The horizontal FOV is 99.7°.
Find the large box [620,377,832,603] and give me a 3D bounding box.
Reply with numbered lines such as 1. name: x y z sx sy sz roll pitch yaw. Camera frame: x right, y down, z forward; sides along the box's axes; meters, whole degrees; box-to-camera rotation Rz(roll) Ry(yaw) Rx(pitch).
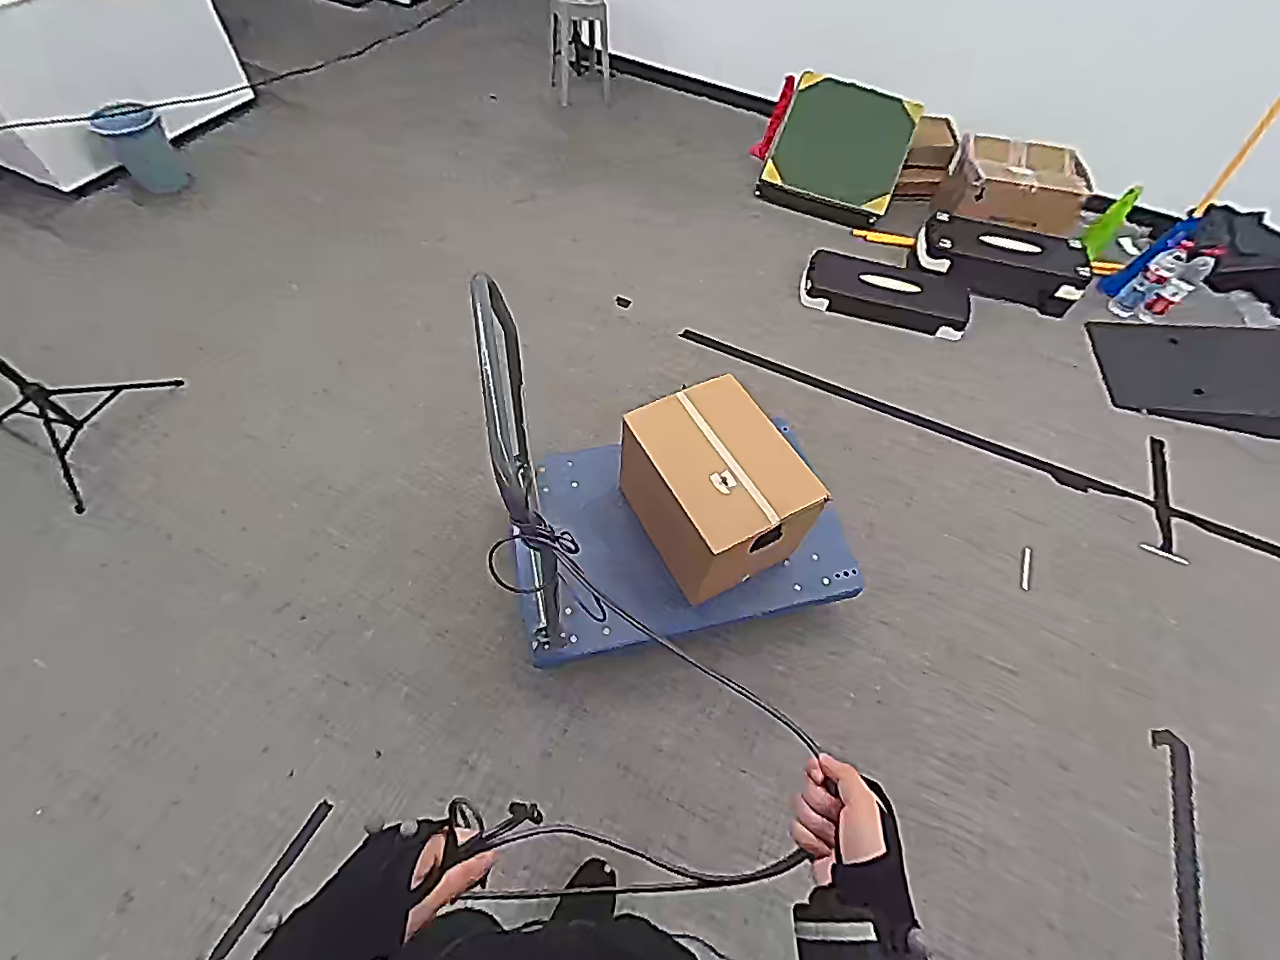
1. large box: 0.180 0.025 1.339 0.320 0.320 0.408 -24 63 -17
